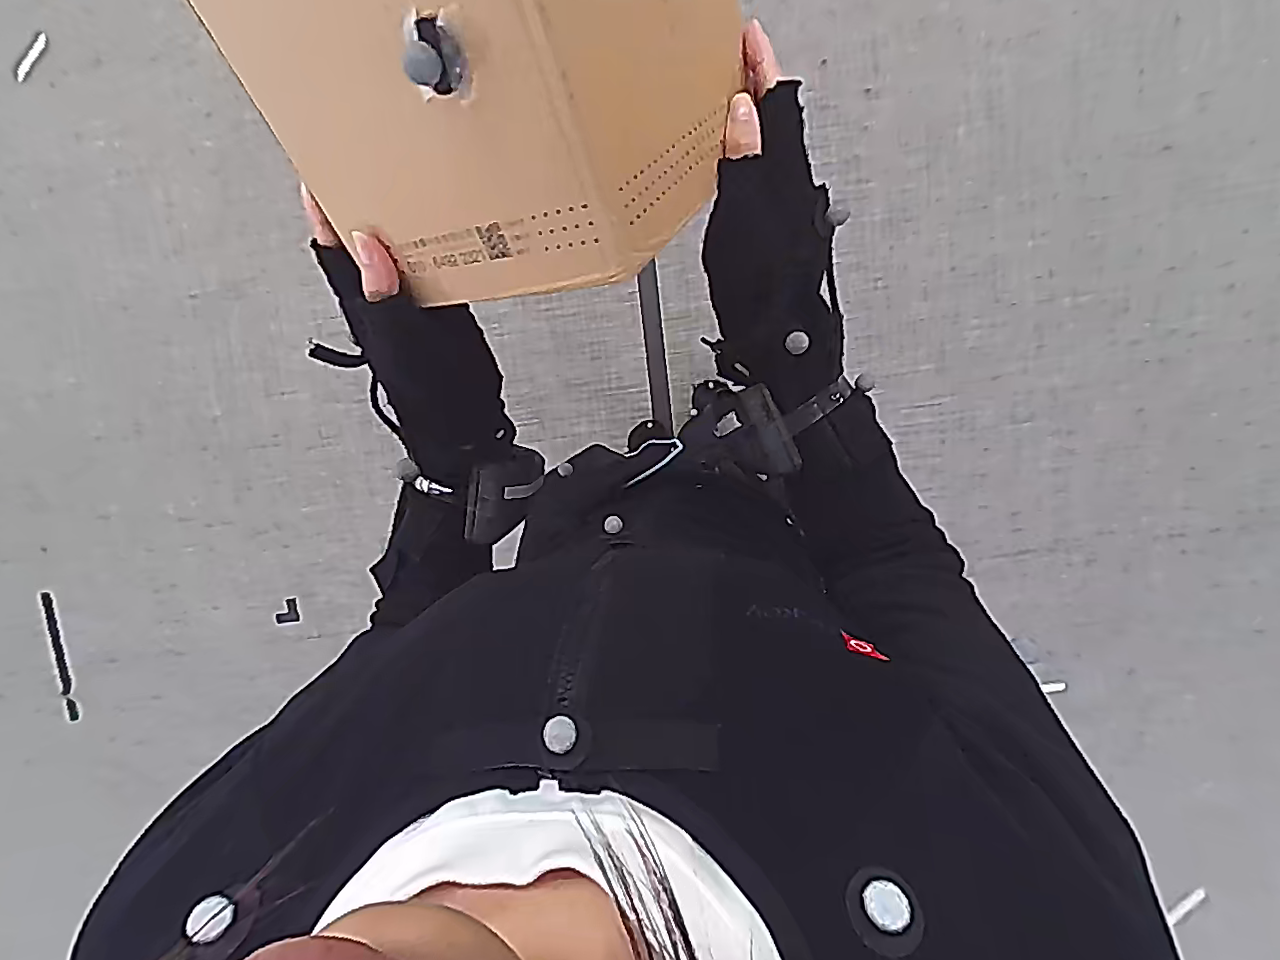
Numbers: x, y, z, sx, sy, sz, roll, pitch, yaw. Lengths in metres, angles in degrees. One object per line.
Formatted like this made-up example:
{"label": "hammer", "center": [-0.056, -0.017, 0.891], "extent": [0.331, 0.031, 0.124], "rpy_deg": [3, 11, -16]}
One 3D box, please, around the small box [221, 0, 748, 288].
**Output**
{"label": "small box", "center": [-0.055, -0.212, 0.278], "extent": [0.168, 0.179, 0.176], "rpy_deg": [7, 136, 31]}
